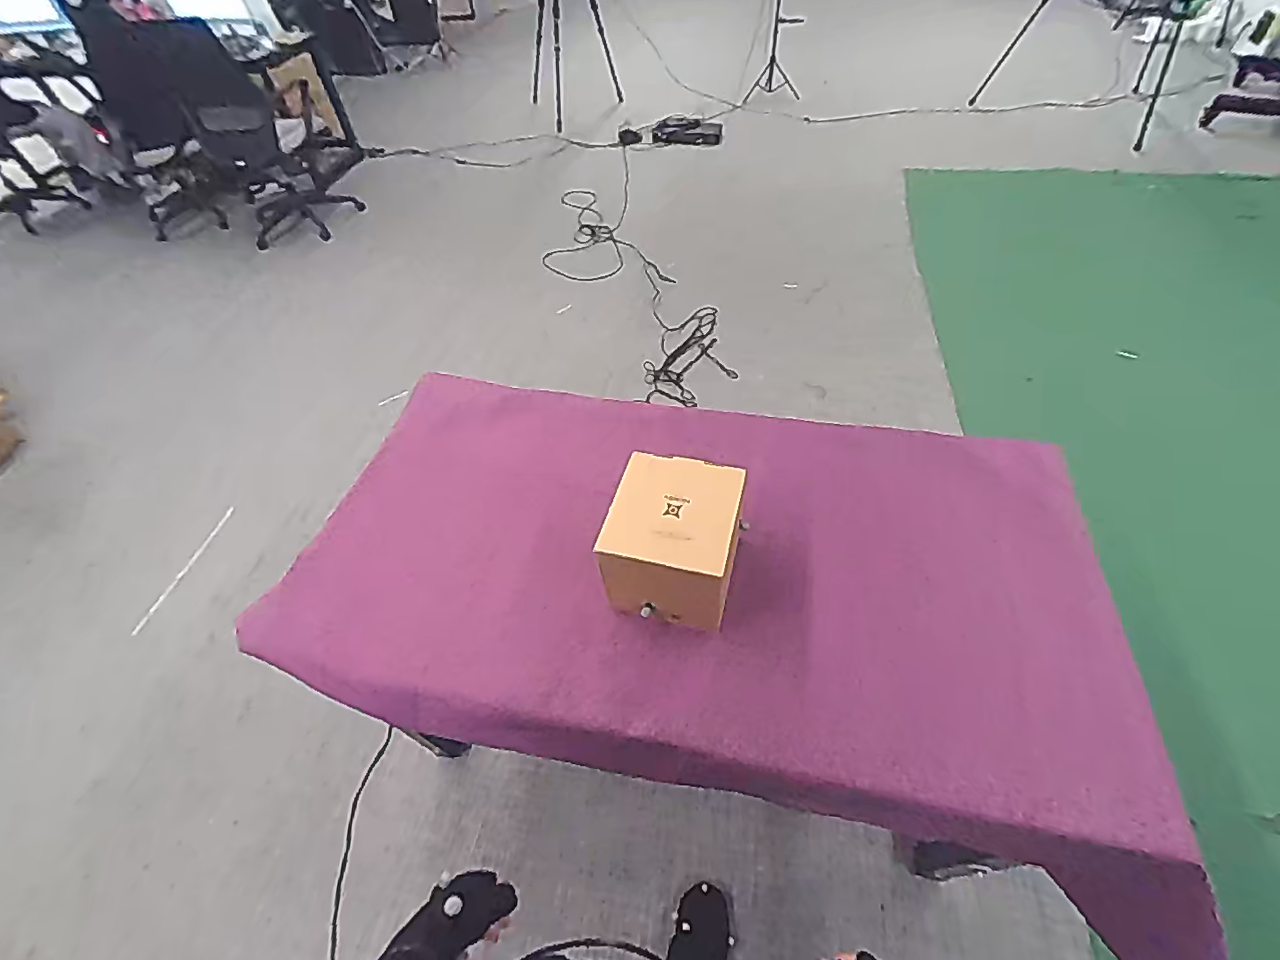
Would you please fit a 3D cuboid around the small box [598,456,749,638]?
[{"bbox_3d":[0.052,0.095,0.764,0.168,0.176,0.179,10,52,14],"label":"small box"}]
